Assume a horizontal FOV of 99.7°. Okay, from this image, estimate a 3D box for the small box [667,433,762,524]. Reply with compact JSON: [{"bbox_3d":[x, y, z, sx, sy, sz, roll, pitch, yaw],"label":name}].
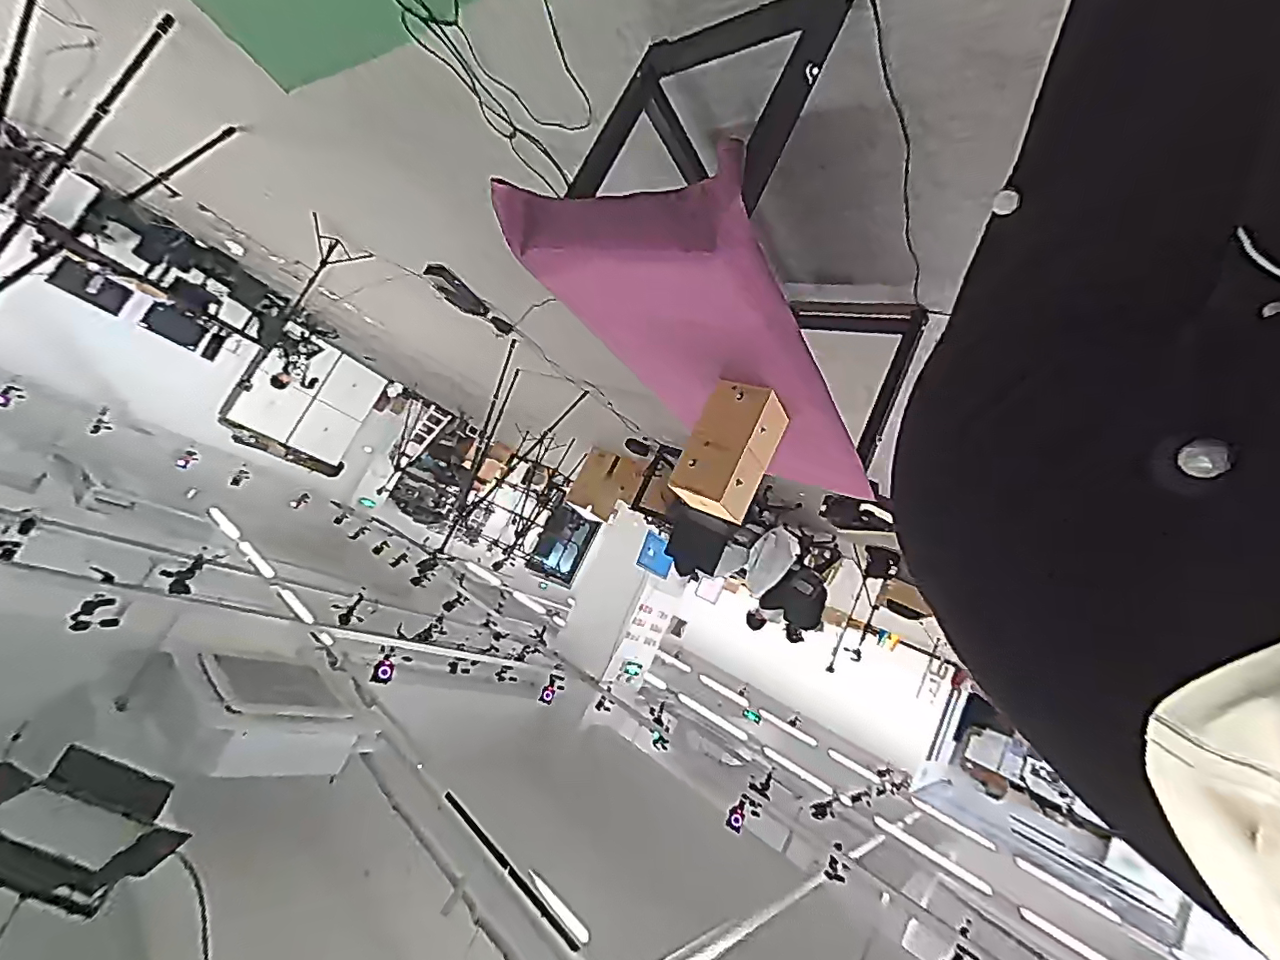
[{"bbox_3d":[0.205,-0.007,1.452,0.168,0.176,0.179,20,168,35],"label":"small box"}]
